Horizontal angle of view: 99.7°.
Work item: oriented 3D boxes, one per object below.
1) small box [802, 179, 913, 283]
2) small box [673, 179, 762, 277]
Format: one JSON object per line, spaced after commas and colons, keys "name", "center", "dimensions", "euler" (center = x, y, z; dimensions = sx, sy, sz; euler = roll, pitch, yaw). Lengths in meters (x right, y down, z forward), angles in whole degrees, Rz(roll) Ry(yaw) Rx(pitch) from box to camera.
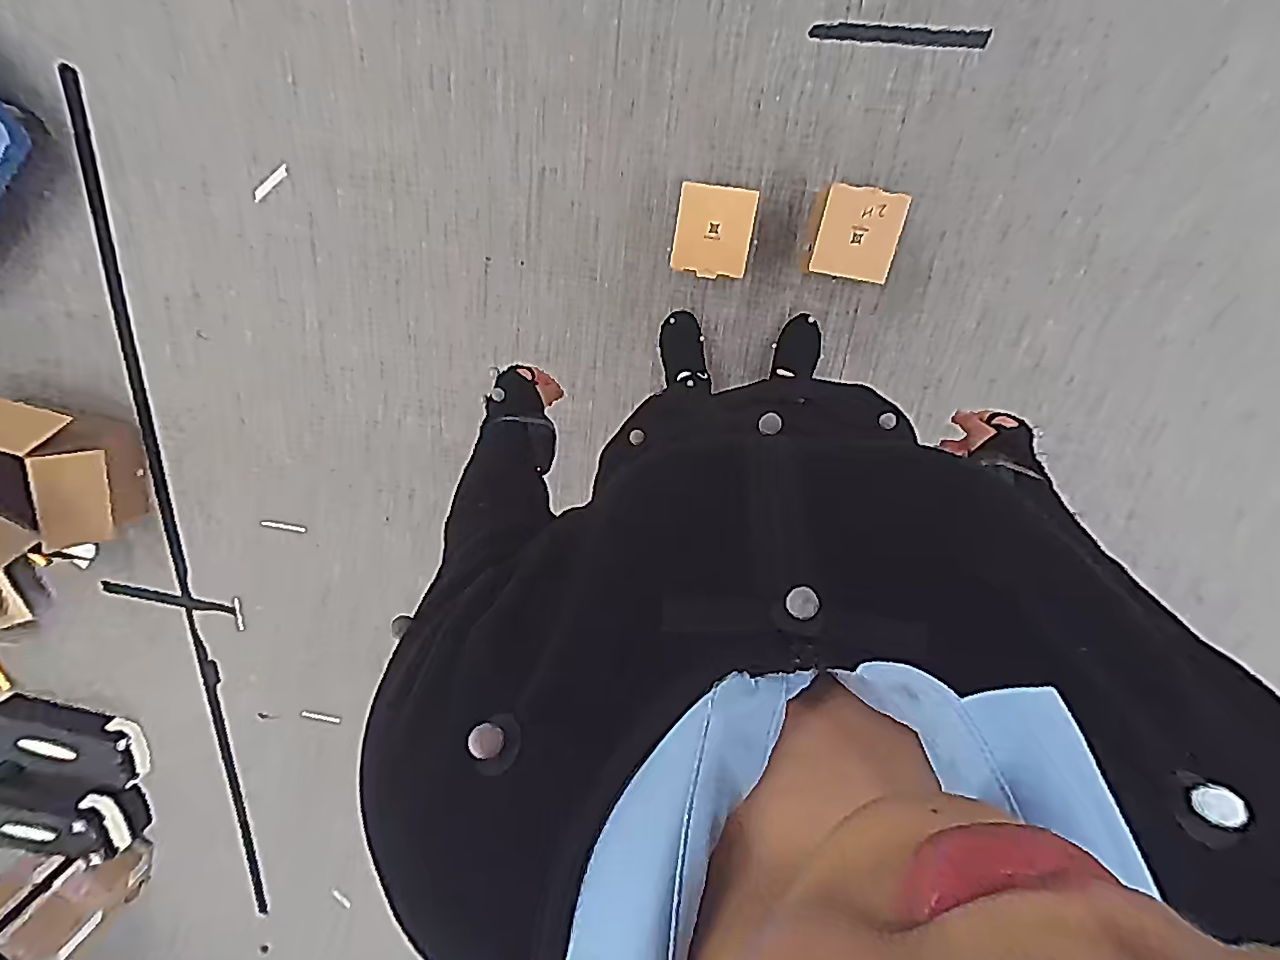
{"name": "small box", "center": [0.468, -0.544, 1.196], "dimensions": [0.168, 0.176, 0.179], "euler": [12, 111, 2]}
{"name": "small box", "center": [0.172, -0.566, 1.232], "dimensions": [0.168, 0.176, 0.179], "euler": [10, 112, 4]}
